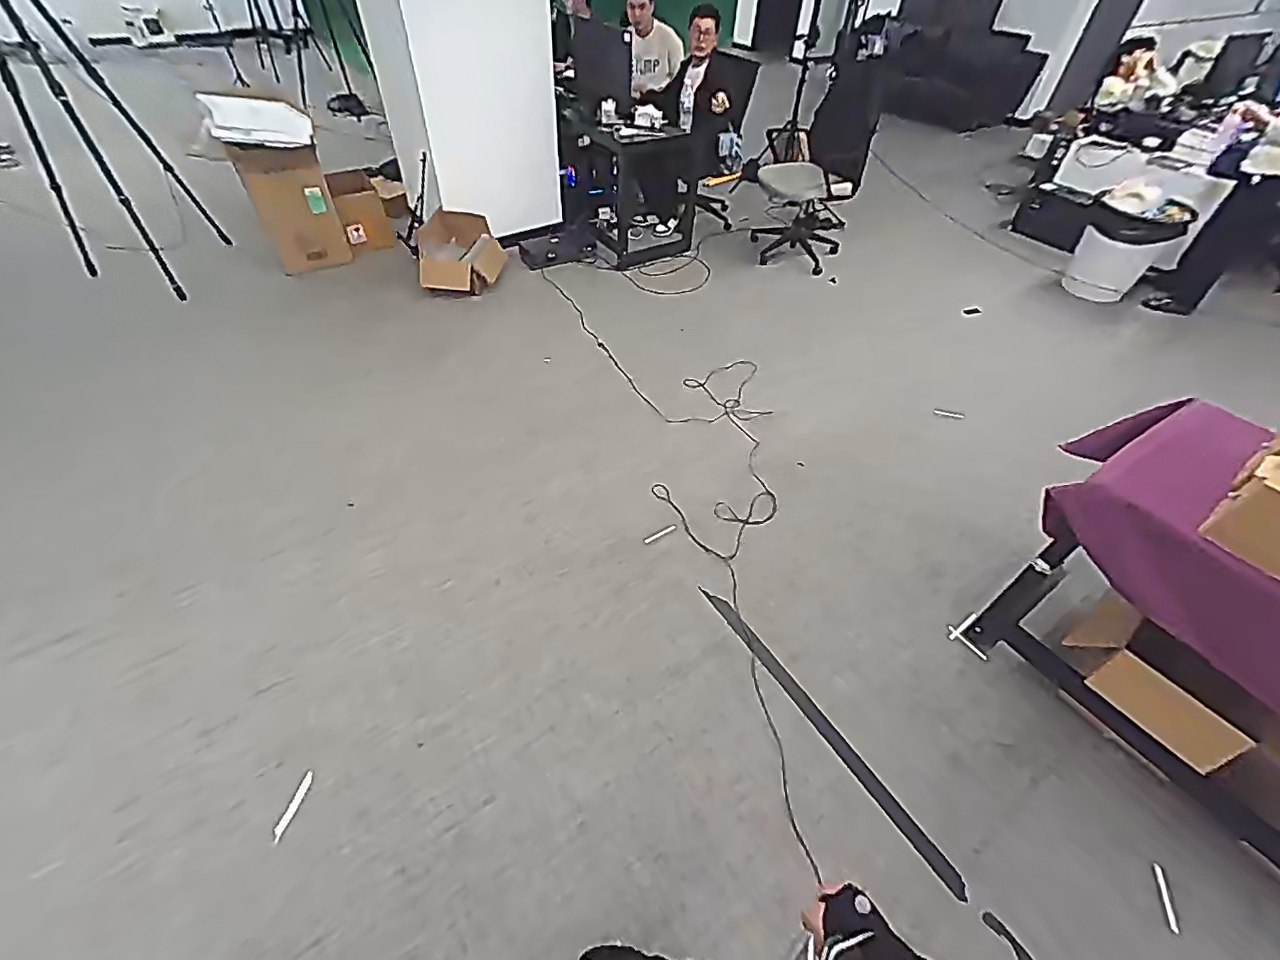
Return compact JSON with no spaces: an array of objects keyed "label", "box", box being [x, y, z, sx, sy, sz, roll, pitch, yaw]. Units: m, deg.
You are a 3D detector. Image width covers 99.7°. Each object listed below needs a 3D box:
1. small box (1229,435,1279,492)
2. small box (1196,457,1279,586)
[{"label":"small box","box":[1.513,-0.015,1.219,0.168,0.176,0.179,-28,55,-26]},{"label":"small box","box":[1.323,0.089,1.111,0.168,0.176,0.179,-26,54,-25]}]
